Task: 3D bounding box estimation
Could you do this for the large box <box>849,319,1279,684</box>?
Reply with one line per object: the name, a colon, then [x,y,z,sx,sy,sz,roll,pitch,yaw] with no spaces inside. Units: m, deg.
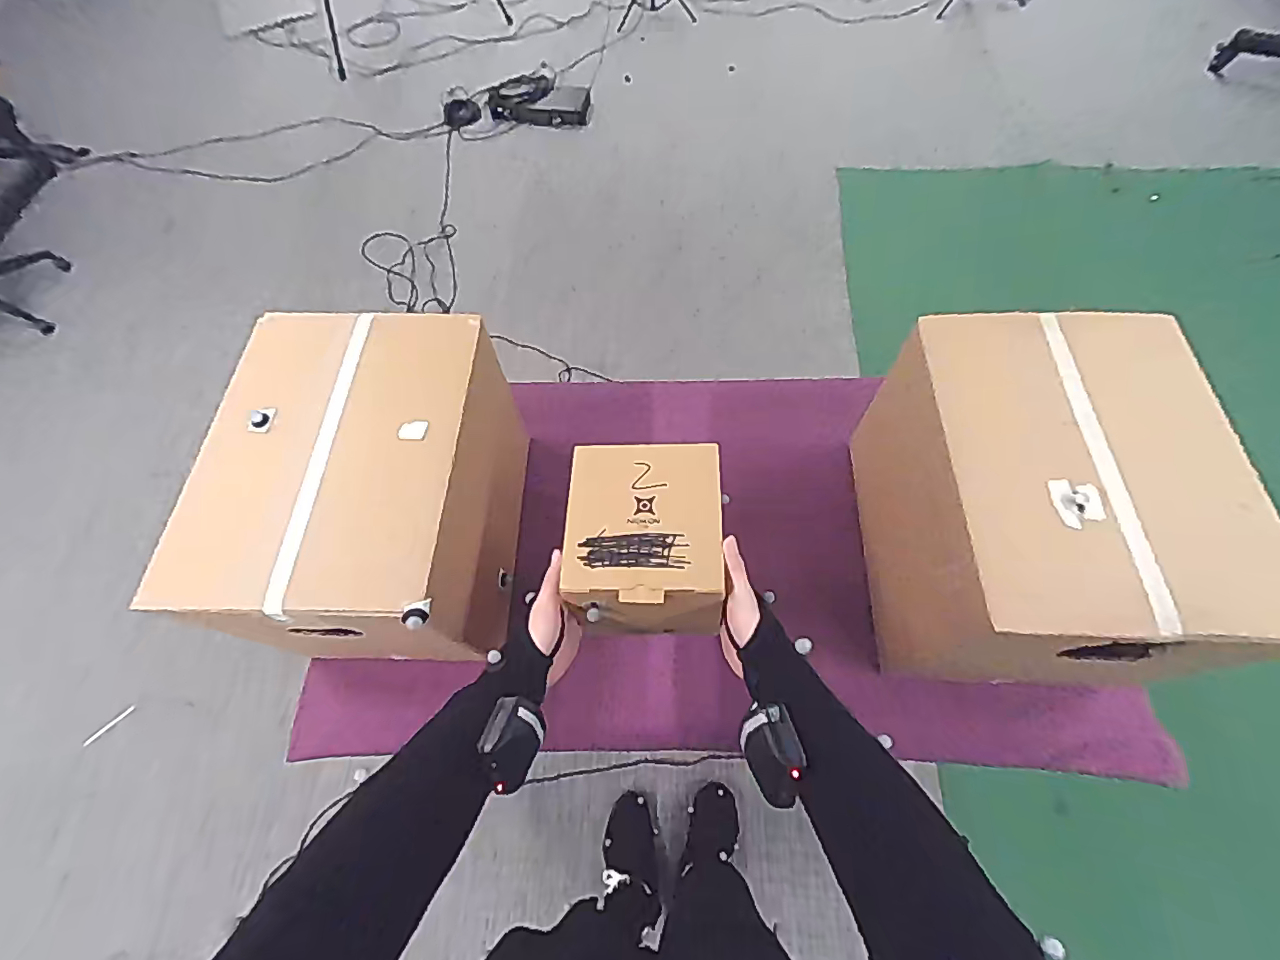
large box: [0.507,0.042,0.728,0.320,0.320,0.408,0,63,4]
